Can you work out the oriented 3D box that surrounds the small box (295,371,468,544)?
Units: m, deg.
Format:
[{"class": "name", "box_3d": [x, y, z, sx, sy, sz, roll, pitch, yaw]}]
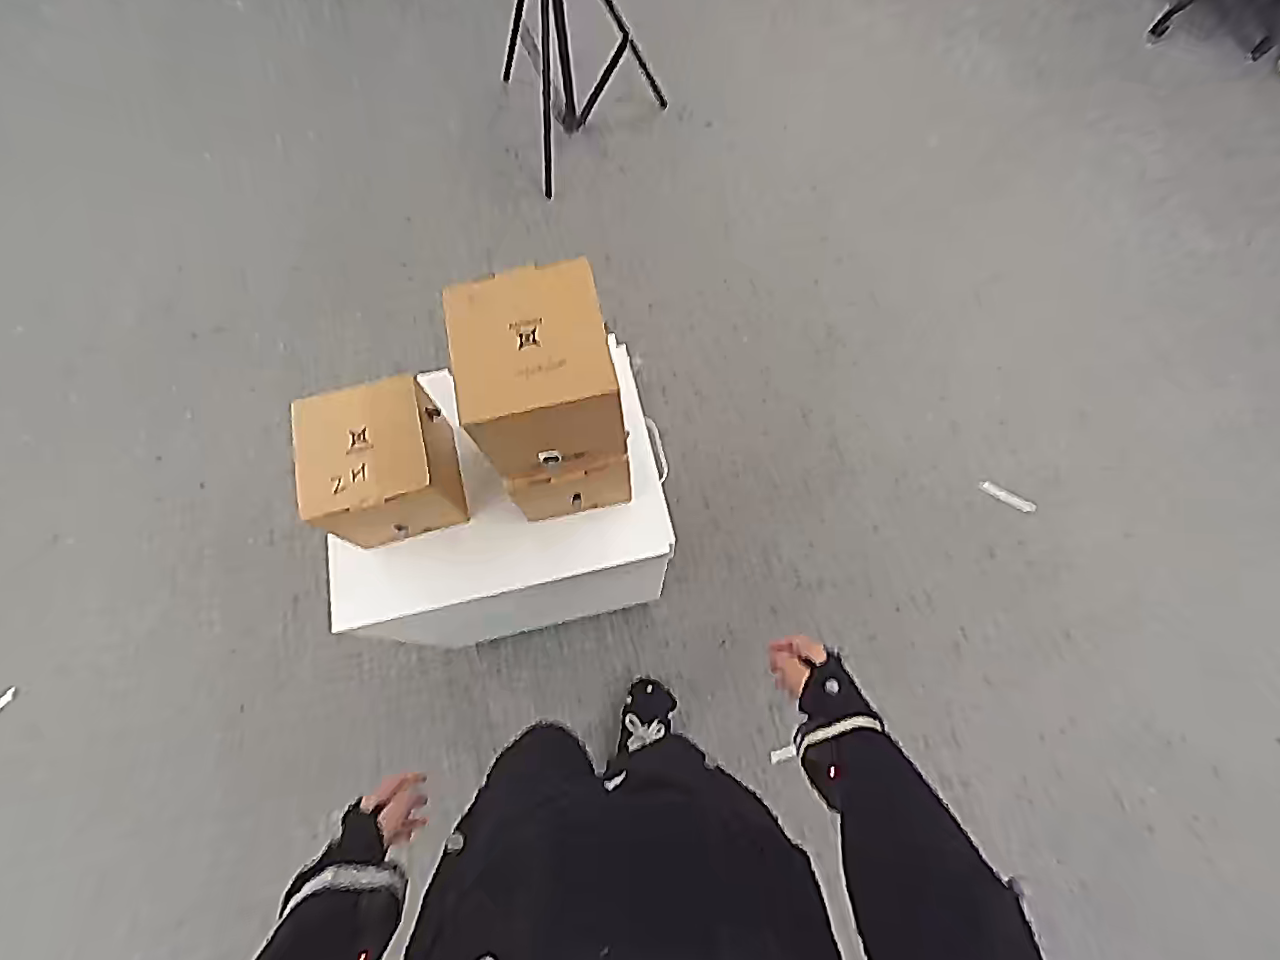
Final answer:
[{"class": "small box", "box_3d": [-0.362, -0.025, 0.778, 0.168, 0.176, 0.179, -15, 72, -5]}]

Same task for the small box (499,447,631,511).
[{"class": "small box", "box_3d": [-0.110, -0.062, 0.790, 0.168, 0.176, 0.179, -13, 72, -3]}]

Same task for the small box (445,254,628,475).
[{"class": "small box", "box_3d": [-0.113, -0.127, 0.640, 0.168, 0.176, 0.179, -14, 71, -3]}]
